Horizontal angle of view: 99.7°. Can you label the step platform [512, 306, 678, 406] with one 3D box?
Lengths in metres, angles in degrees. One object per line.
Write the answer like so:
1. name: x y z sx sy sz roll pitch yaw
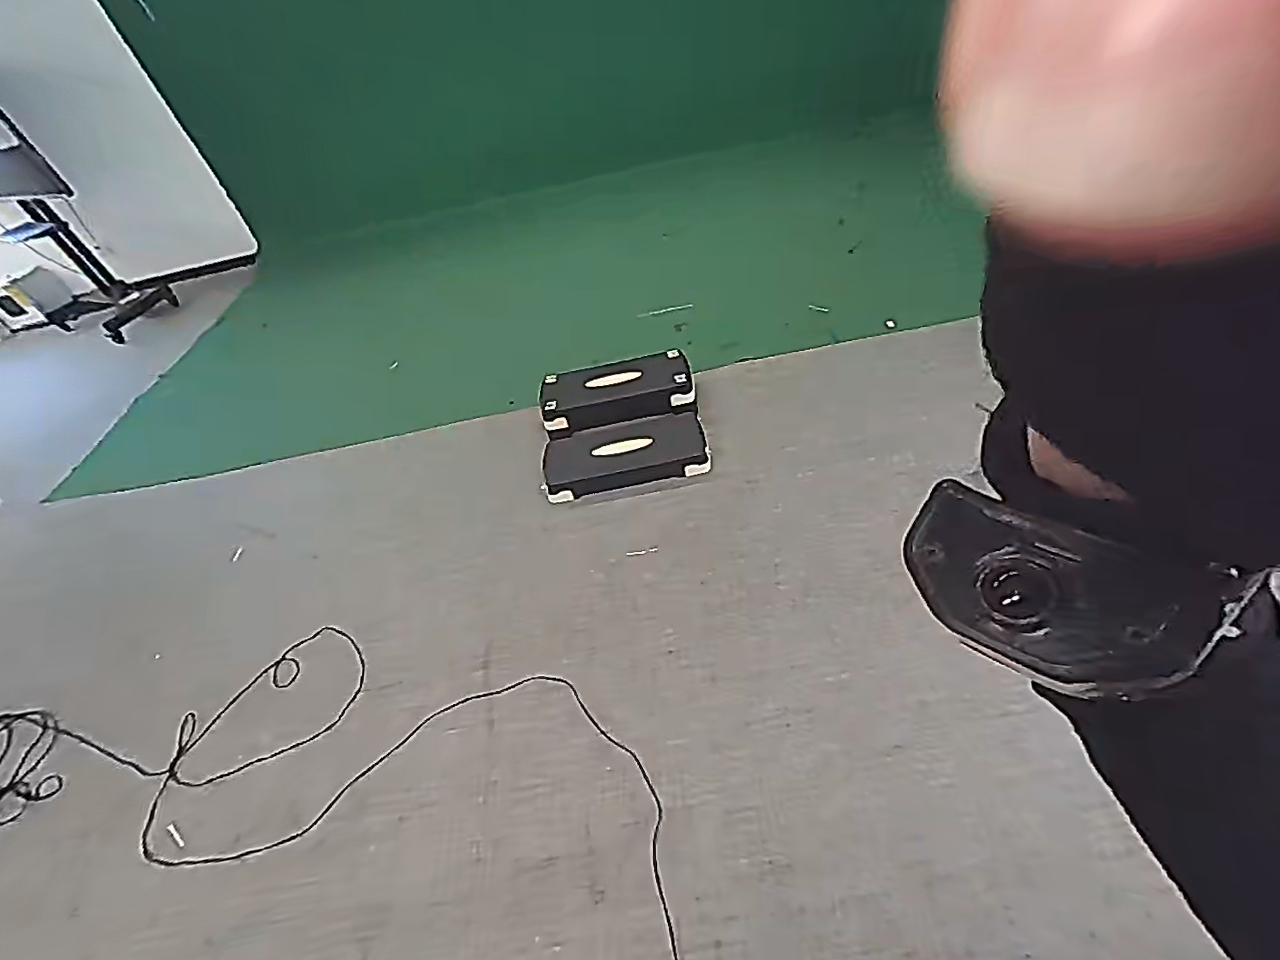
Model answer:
1. step platform: -0.181 -0.523 2.282 0.684 0.204 0.286 -12 45 3
